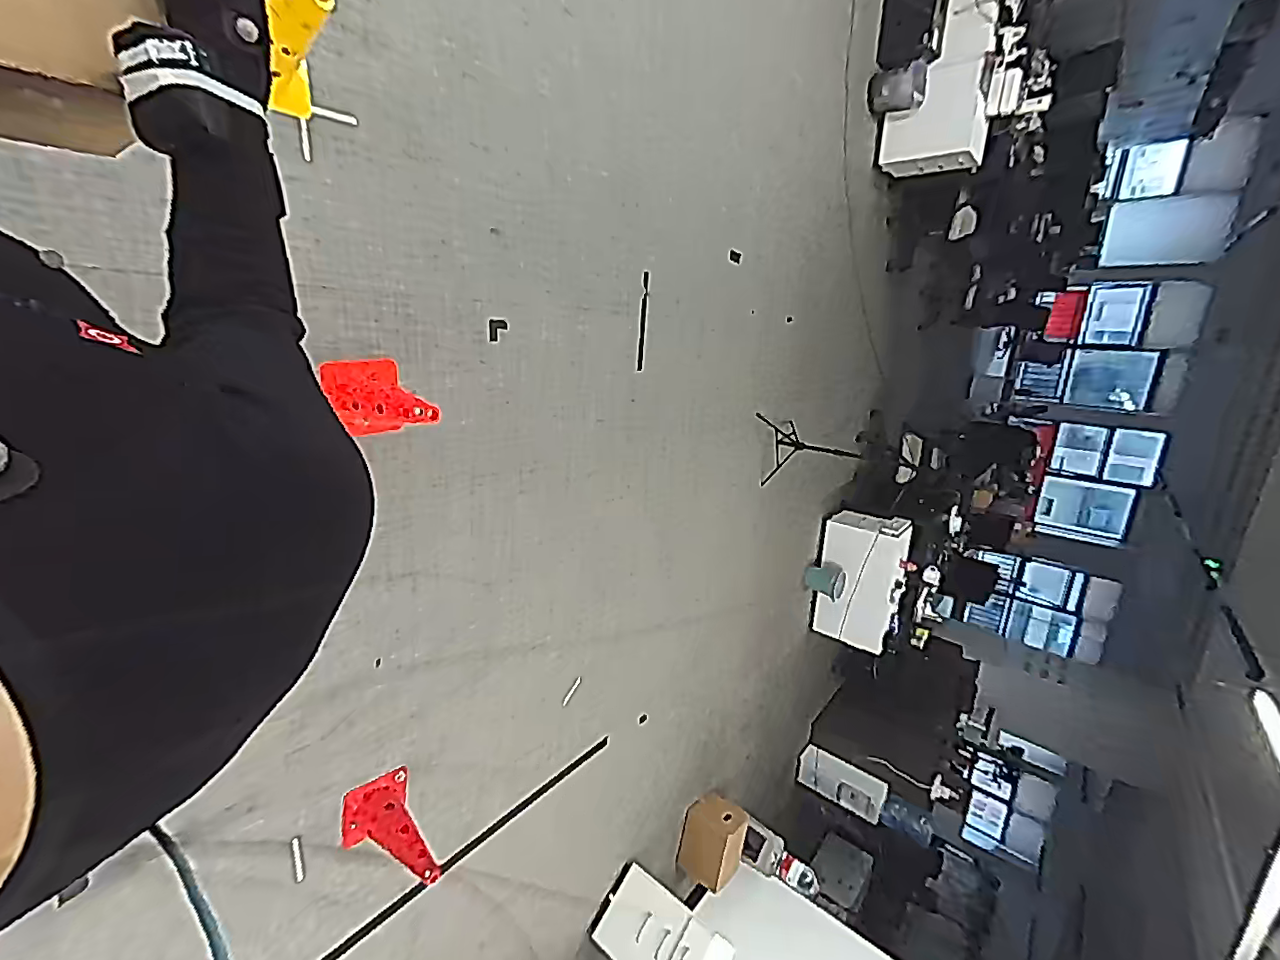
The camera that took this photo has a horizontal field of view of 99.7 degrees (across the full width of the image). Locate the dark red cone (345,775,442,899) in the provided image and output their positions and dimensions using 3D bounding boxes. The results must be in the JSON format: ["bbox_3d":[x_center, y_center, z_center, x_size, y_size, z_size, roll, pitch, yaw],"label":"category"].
[{"bbox_3d":[-0.703,1.085,1.602,0.201,0.394,0.202,-6,106,-50],"label":"dark red cone"}]

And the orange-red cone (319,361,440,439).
[{"bbox_3d":[-0.611,-0.185,1.339,0.198,0.360,0.199,-19,114,-48],"label":"orange-red cone"}]

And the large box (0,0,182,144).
[{"bbox_3d":[-0.573,-0.423,0.296,0.408,0.320,0.320,-18,118,-48],"label":"large box"}]
